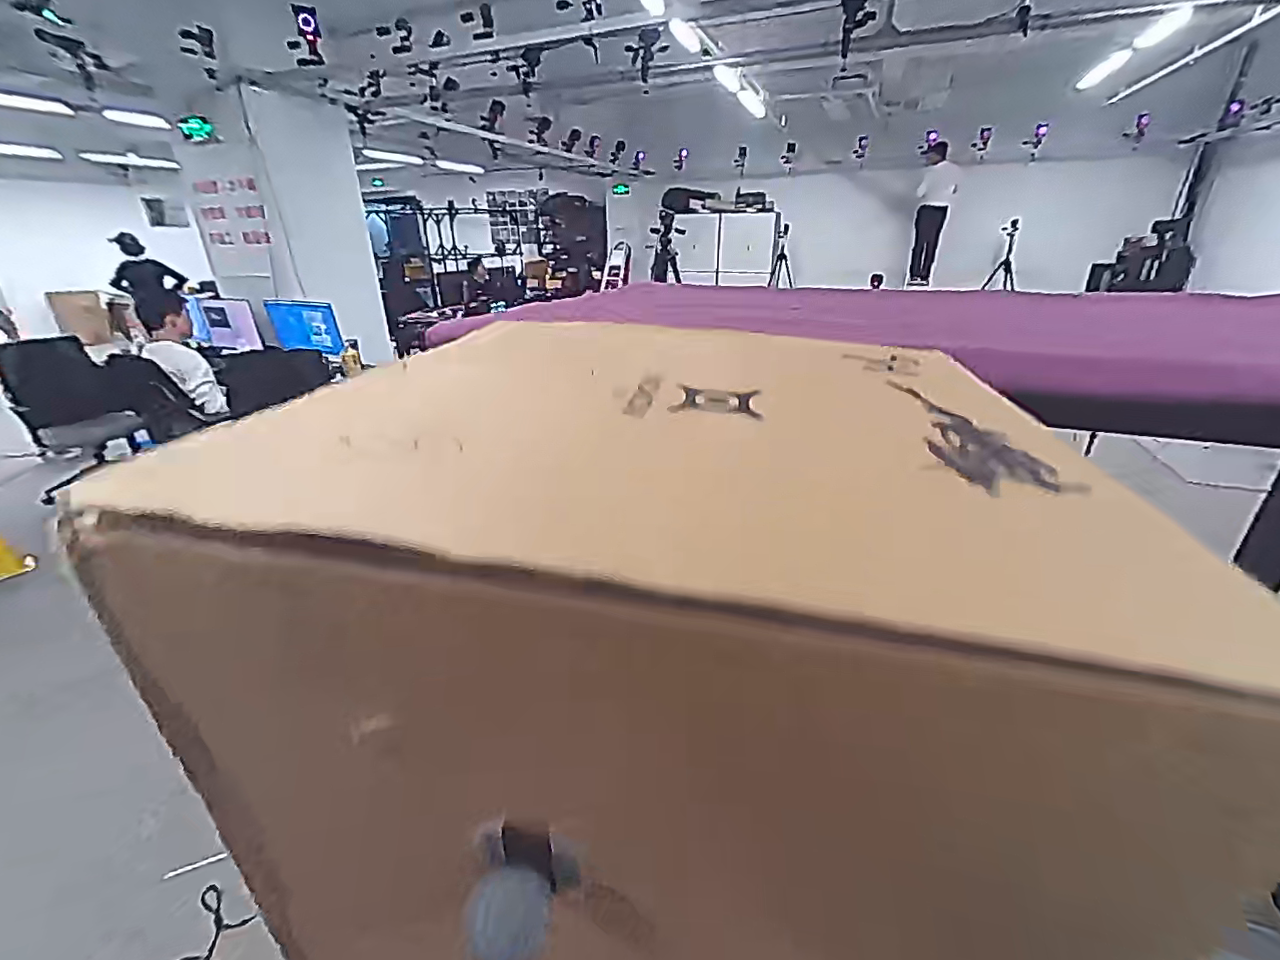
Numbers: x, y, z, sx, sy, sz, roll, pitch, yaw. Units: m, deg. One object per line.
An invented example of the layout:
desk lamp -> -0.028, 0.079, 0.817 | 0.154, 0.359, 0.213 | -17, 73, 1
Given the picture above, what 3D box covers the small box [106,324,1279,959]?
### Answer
small box -> 0.006, 0.051, 0.181 | 0.179, 0.176, 0.168 | 6, 27, 9
